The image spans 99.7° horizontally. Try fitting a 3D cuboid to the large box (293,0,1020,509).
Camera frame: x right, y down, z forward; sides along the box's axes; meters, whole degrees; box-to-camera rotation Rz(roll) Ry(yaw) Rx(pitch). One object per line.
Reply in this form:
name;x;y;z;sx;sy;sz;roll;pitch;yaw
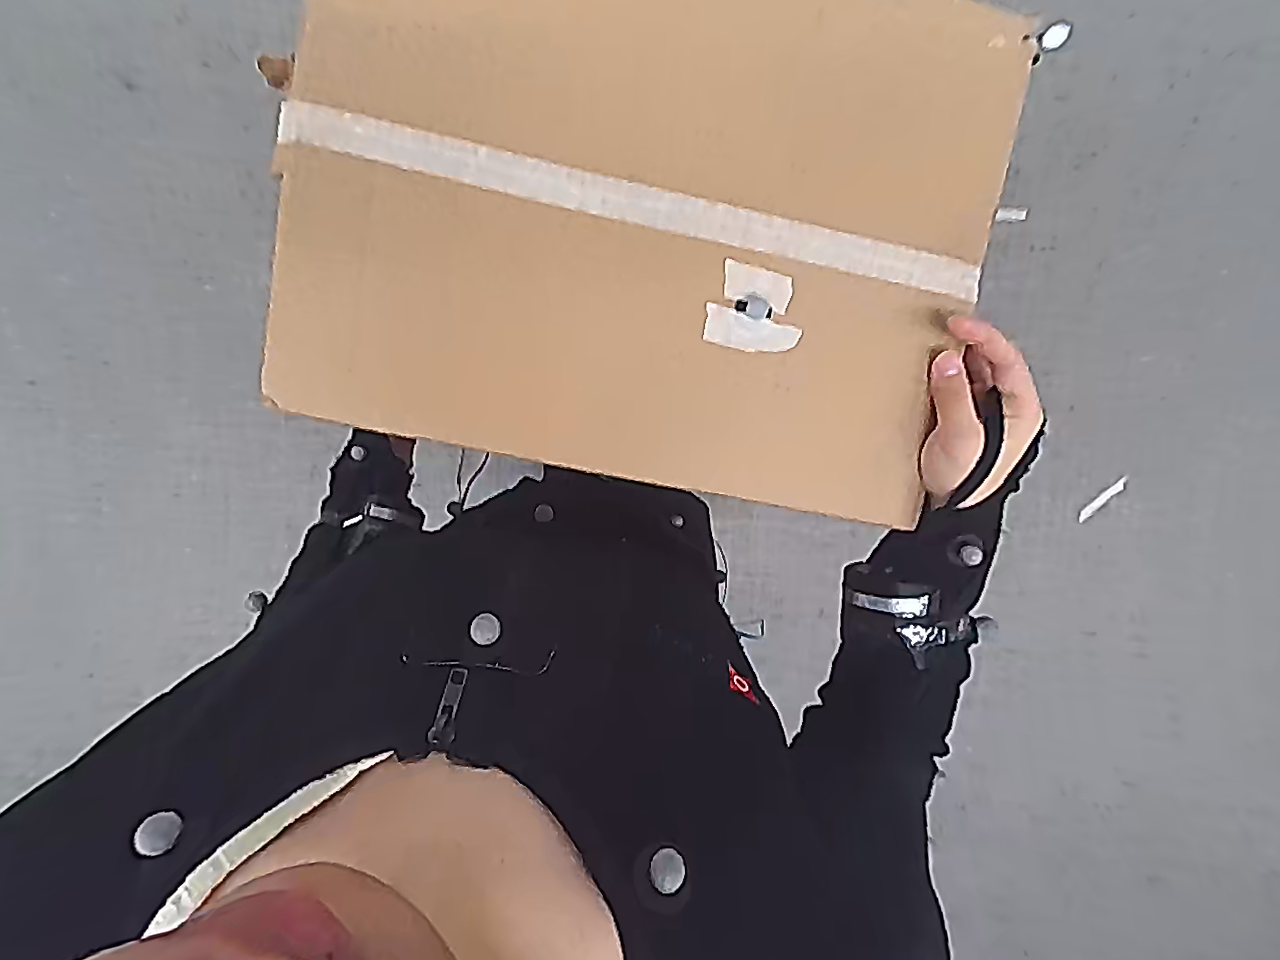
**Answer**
large box;0.000;-0.178;0.471;0.408;0.320;0.320;11;96;-7
